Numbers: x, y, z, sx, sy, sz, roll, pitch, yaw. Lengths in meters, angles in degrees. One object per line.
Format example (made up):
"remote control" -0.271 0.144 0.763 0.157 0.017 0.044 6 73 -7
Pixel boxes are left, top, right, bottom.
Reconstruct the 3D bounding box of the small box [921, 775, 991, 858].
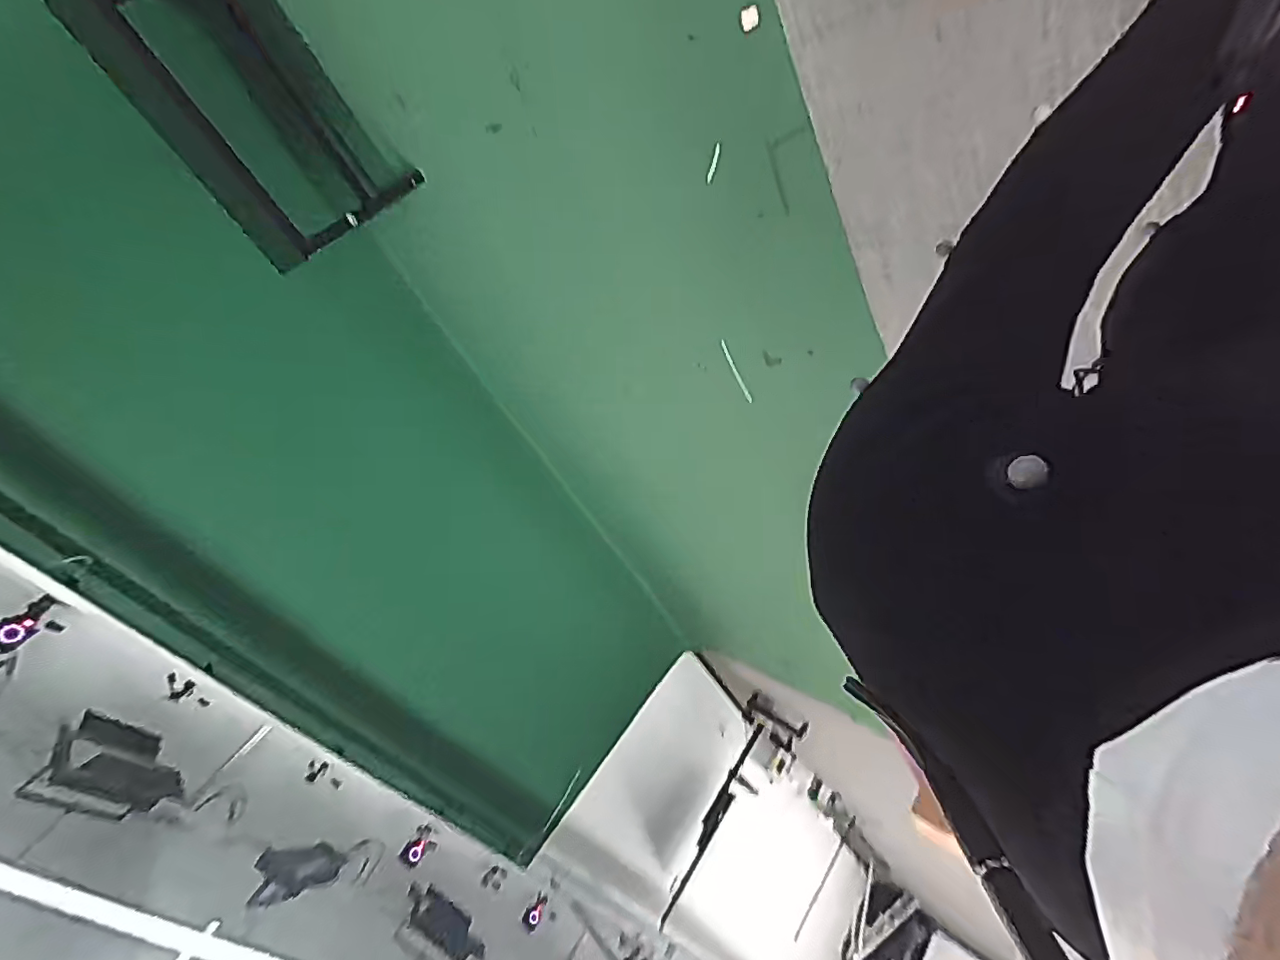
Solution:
"small box" 1.181 1.247 2.013 0.168 0.176 0.179 9 141 51
